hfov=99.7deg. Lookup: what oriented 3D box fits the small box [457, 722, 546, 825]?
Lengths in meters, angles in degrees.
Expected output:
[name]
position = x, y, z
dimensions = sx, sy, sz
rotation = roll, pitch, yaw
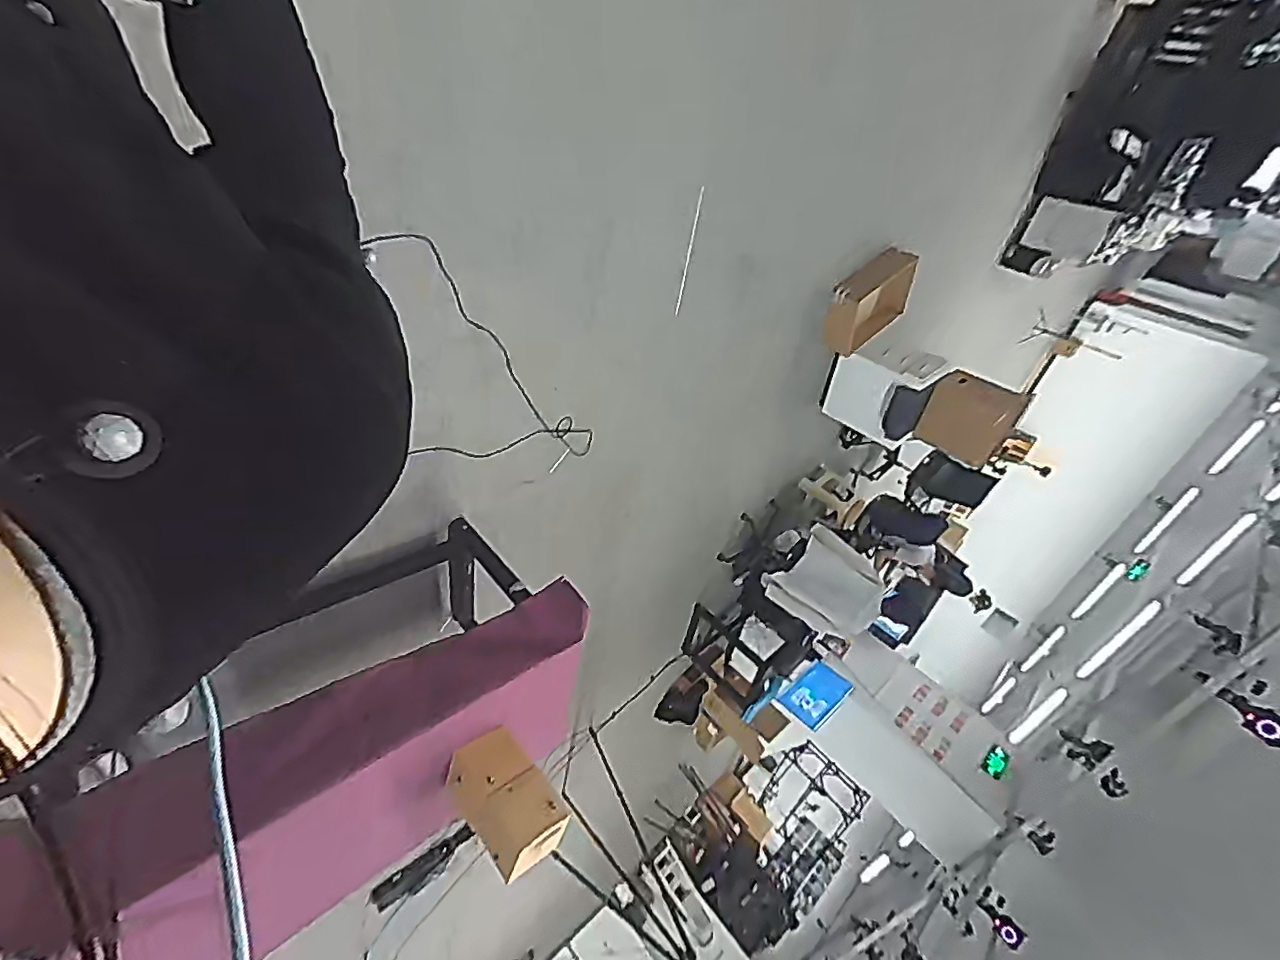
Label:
[small box]
position = -0.408, 0.851, 1.586
dimensions = 0.179, 0.176, 0.168
rotation = -10, 129, -45
